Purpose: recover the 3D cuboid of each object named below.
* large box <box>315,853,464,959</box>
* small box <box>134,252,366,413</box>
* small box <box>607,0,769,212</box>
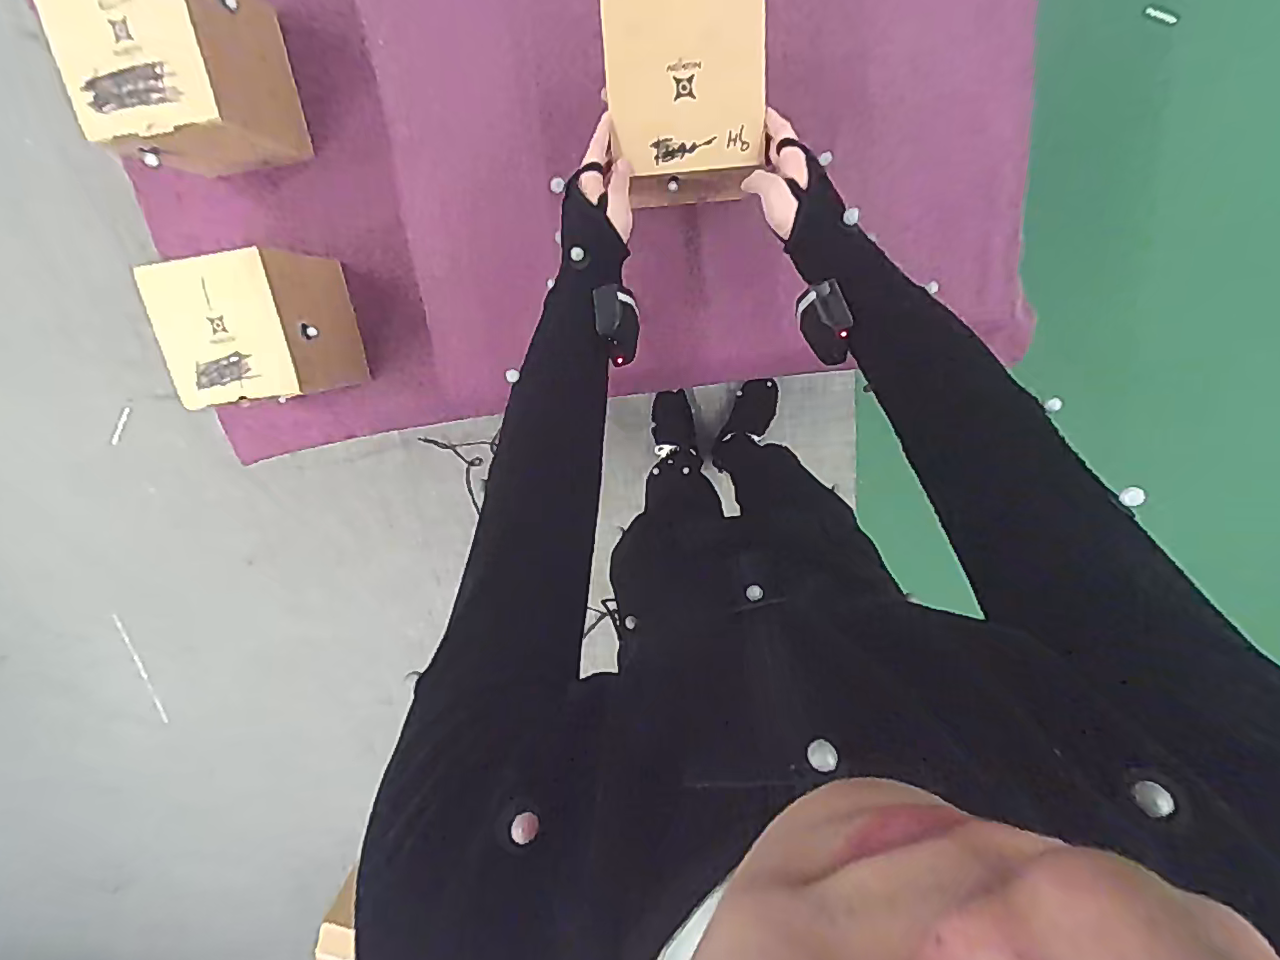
[{"bbox_3d":[-0.923,1.668,2.001,0.408,0.320,0.320,16,107,-2],"label":"large box"},{"bbox_3d":[-0.507,-0.198,0.735,0.168,0.176,0.179,-7,105,5],"label":"small box"},{"bbox_3d":[0.055,-0.432,0.635,0.168,0.176,0.179,-3,105,5],"label":"small box"}]
